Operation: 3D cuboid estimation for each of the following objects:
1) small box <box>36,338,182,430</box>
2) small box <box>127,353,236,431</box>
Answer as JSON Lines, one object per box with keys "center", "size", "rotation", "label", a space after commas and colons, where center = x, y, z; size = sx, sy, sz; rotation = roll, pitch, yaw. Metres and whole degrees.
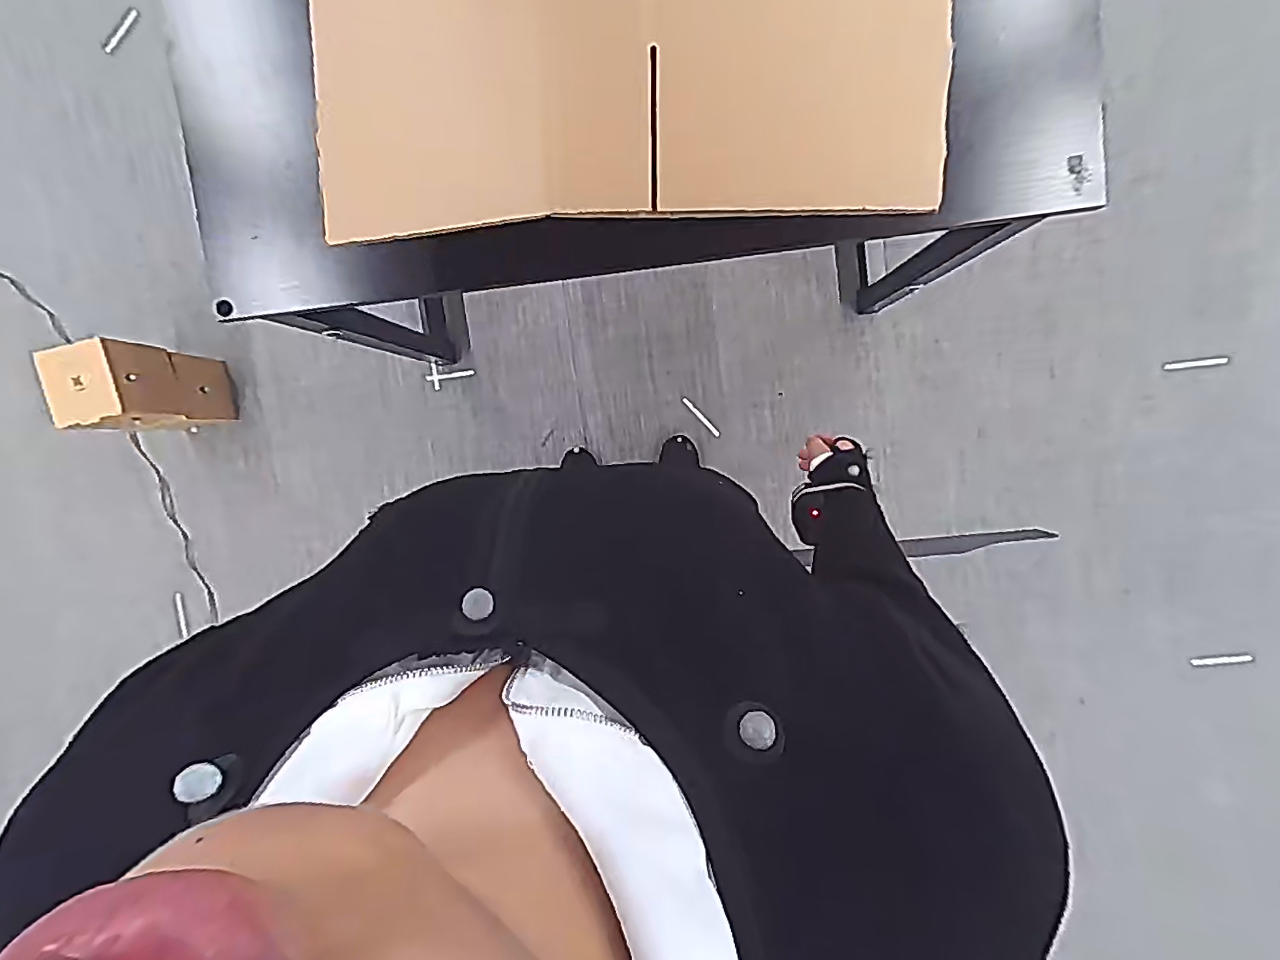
{"center": [-1.246, -0.220, 1.285], "size": [0.168, 0.176, 0.179], "rotation": [-13, 93, 3], "label": "small box"}
{"center": [-1.236, -0.229, 1.447], "size": [0.168, 0.176, 0.179], "rotation": [-10, 95, 4], "label": "small box"}
